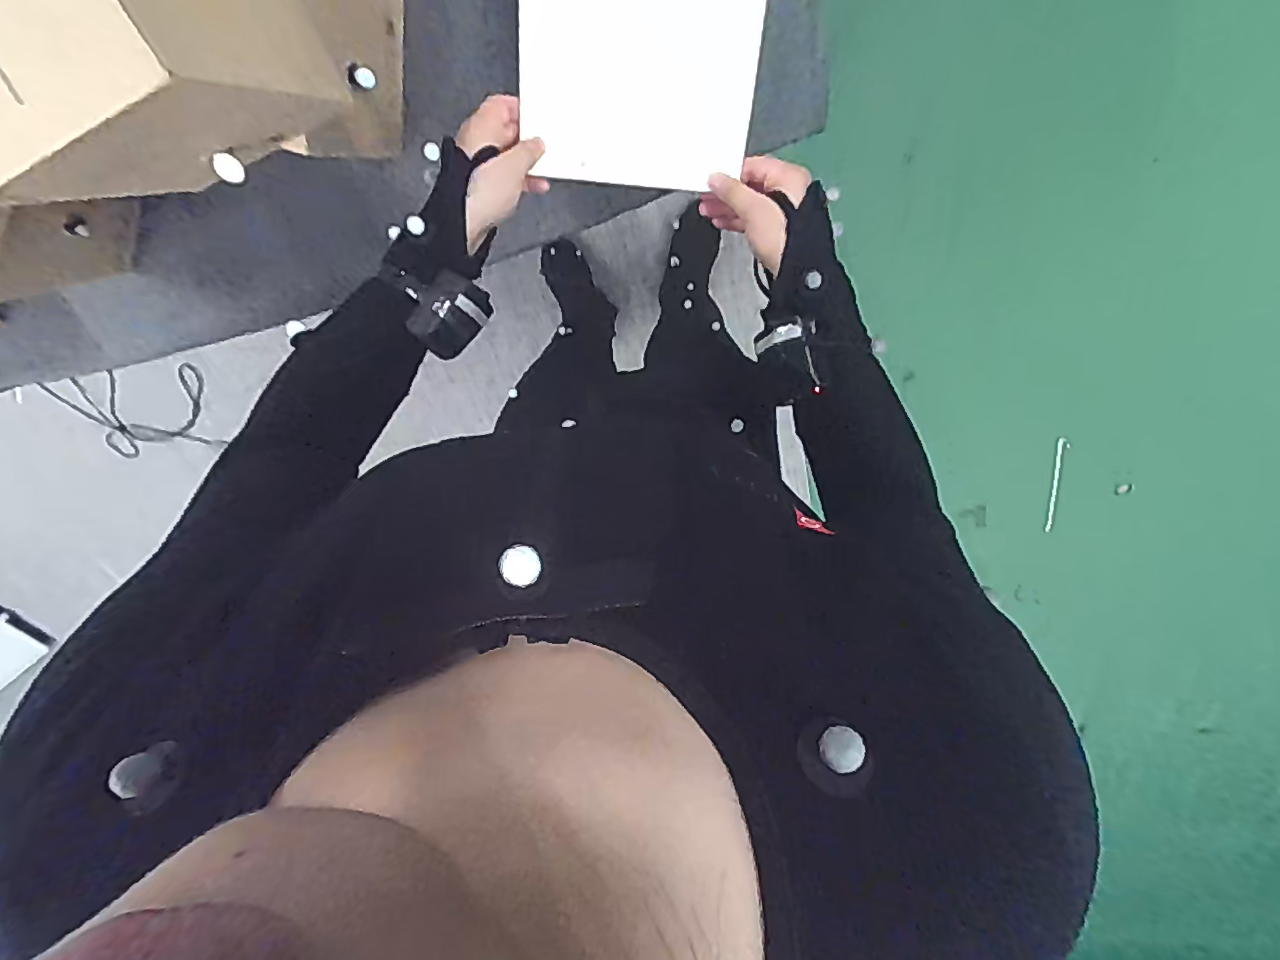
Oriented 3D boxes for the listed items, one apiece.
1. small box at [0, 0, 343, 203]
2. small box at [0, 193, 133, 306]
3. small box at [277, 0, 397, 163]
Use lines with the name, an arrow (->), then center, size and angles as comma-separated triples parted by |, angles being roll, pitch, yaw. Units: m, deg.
small box -> -0.325, -0.281, 0.313 | 0.168, 0.176, 0.179 | -15, 119, 15
small box -> -0.644, -0.301, 0.521 | 0.179, 0.176, 0.168 | 32, 118, -14
small box -> -0.318, -0.379, 0.446 | 0.179, 0.176, 0.168 | 14, 121, -3
